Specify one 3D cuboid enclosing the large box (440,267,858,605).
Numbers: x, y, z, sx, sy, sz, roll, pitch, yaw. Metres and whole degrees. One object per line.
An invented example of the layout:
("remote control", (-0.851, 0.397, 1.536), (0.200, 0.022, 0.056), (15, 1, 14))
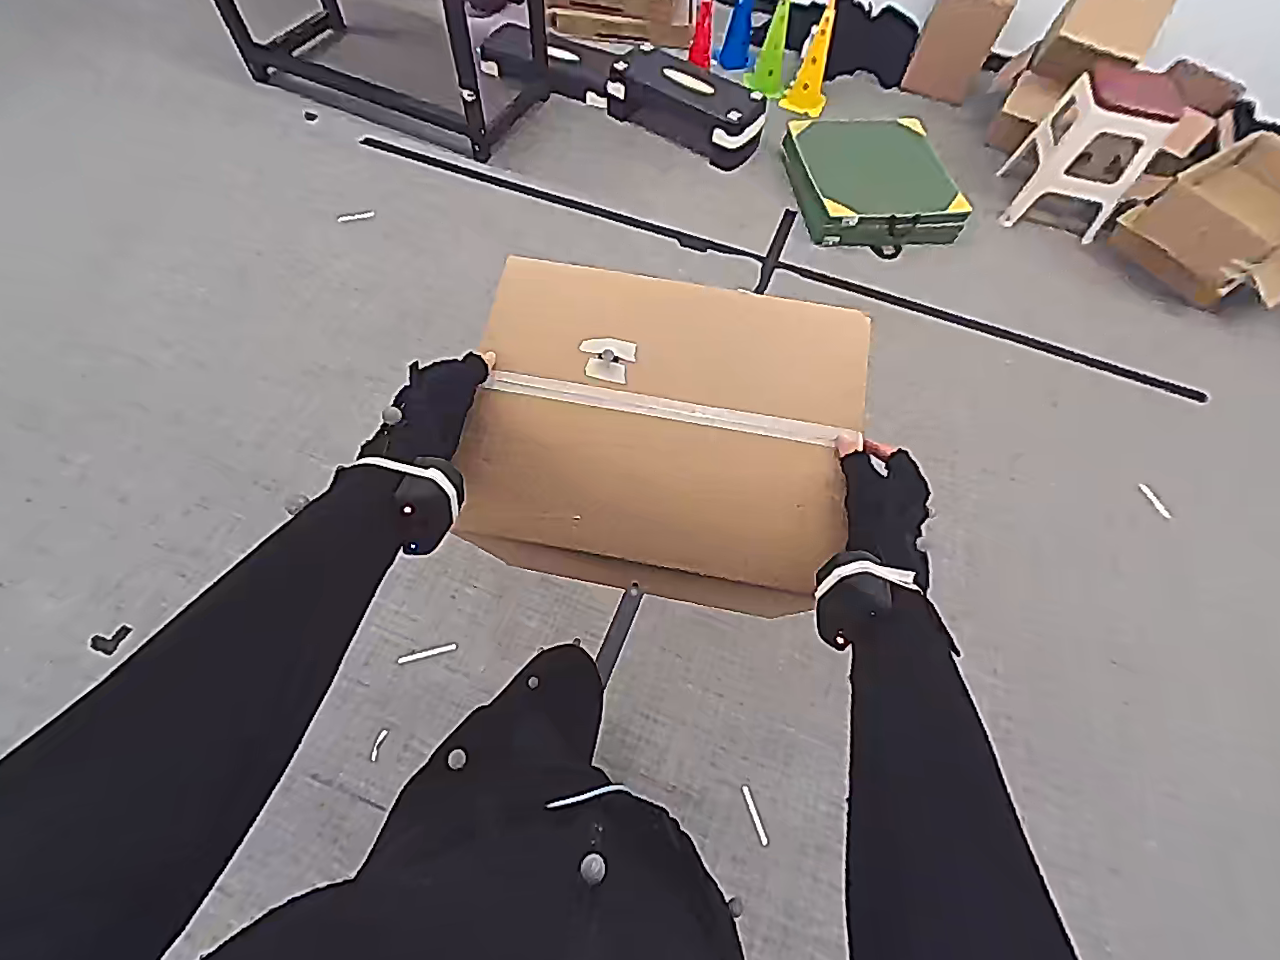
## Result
("large box", (0.025, -0.029, 0.711), (0.408, 0.320, 0.320), (11, 73, 4))
